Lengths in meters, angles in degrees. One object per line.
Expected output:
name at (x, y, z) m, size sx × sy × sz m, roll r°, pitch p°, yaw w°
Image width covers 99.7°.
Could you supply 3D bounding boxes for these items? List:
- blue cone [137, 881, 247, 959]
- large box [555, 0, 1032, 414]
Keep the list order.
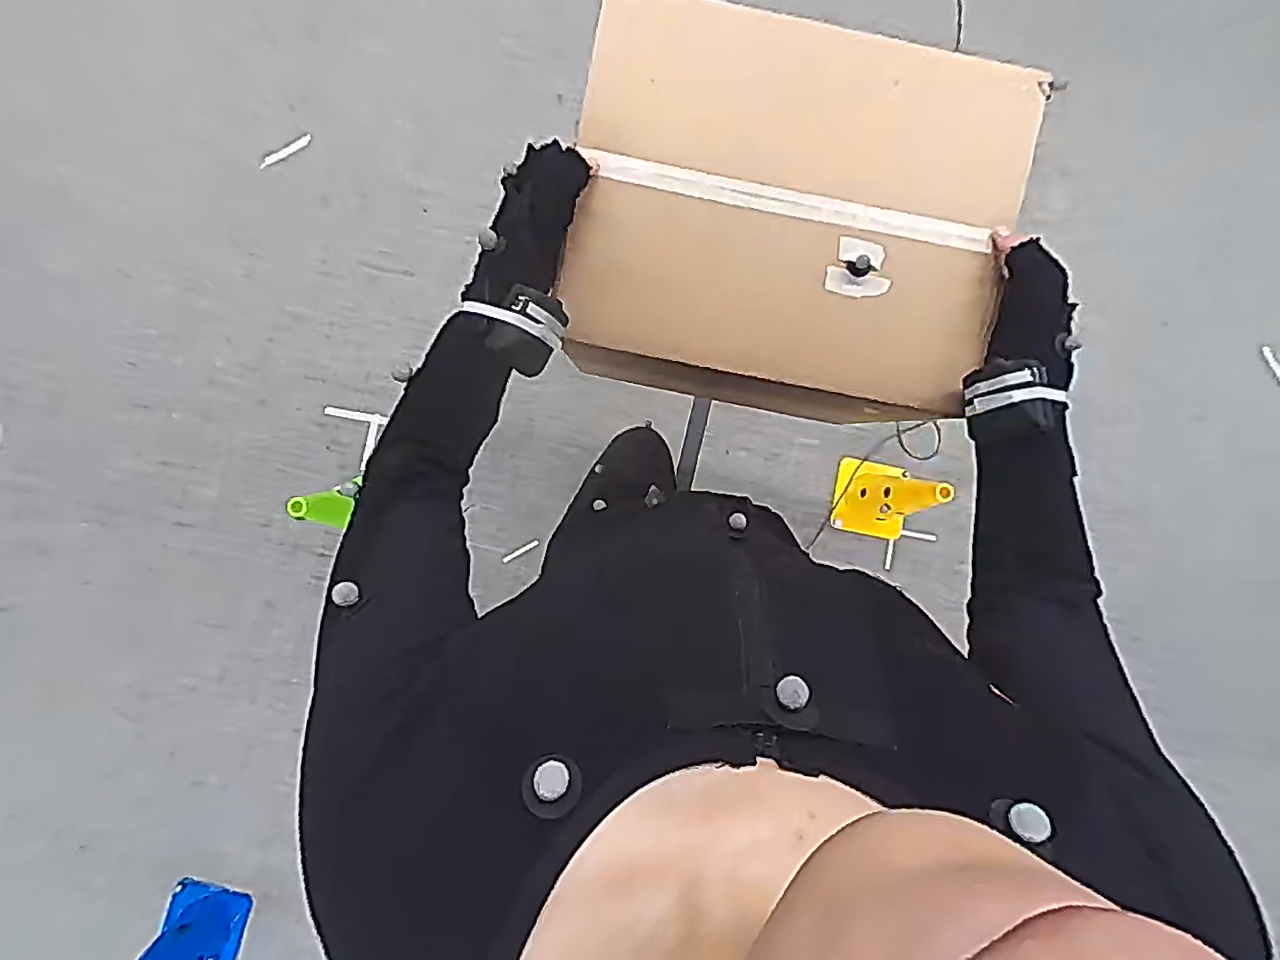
blue cone at (-1.106, 1.124, 1.213) m, size 0.192 × 0.380 × 0.193 m, roll 16°, pitch 85°, yaw 1°
large box at (0.134, -0.268, 0.643) m, size 0.408 × 0.320 × 0.320 m, roll 10°, pitch 95°, yaw -3°
